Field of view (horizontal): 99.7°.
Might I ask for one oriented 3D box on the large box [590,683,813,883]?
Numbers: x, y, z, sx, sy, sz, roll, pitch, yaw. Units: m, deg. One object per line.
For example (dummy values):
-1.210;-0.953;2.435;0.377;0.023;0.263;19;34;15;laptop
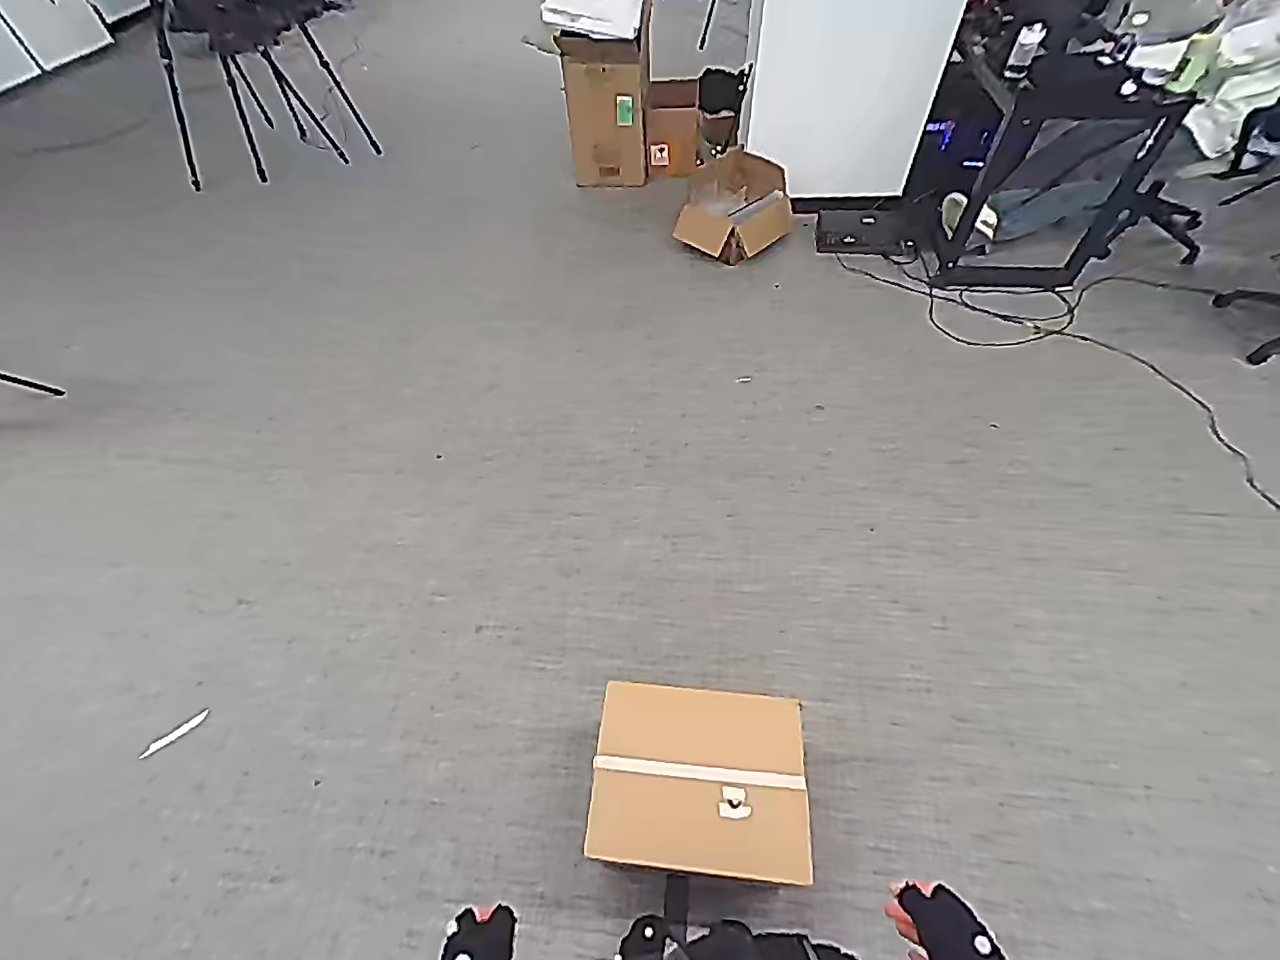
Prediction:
0.119;0.652;1.158;0.408;0.320;0.320;4;53;4;large box
